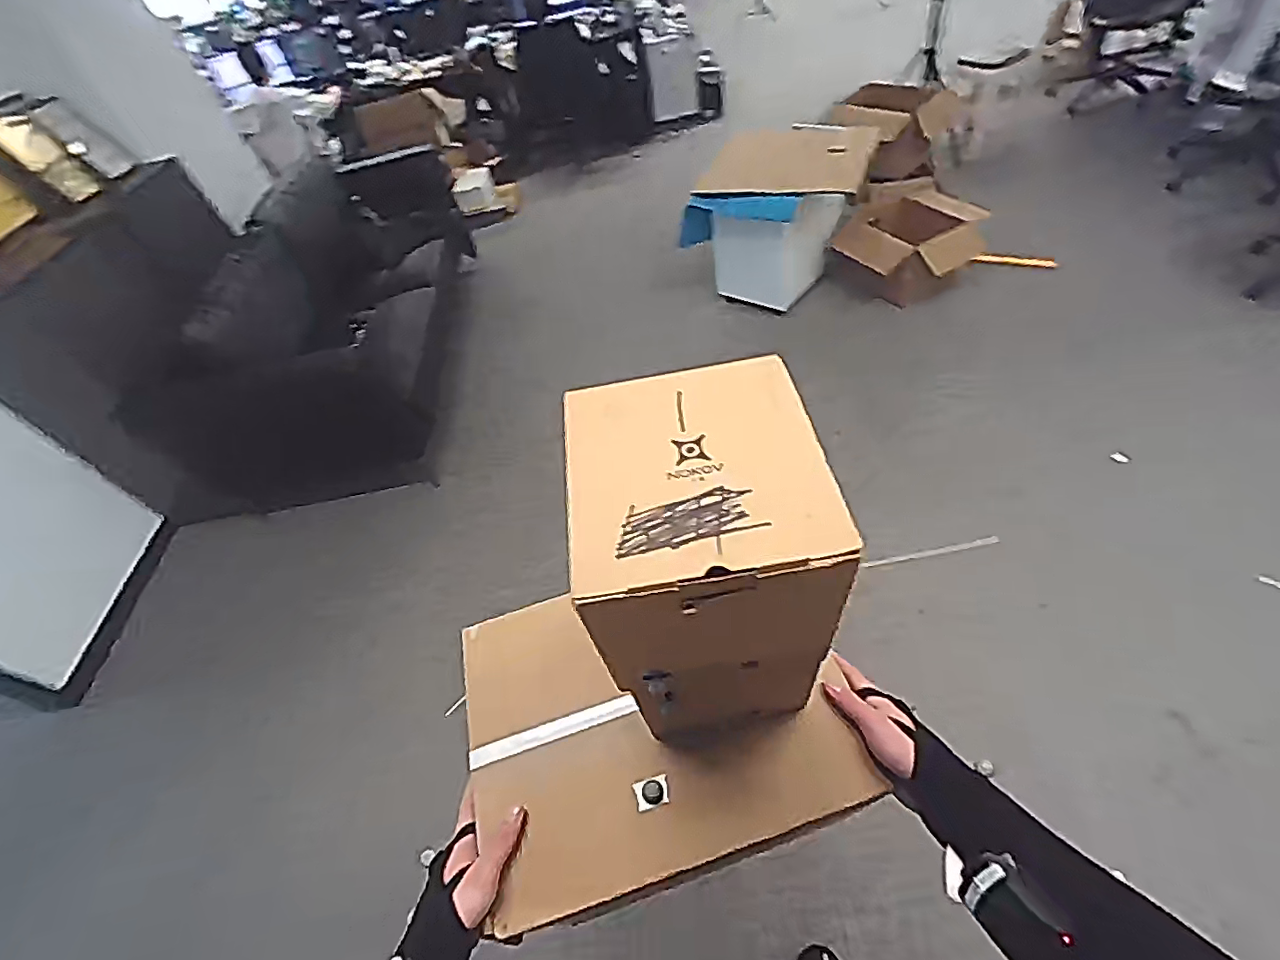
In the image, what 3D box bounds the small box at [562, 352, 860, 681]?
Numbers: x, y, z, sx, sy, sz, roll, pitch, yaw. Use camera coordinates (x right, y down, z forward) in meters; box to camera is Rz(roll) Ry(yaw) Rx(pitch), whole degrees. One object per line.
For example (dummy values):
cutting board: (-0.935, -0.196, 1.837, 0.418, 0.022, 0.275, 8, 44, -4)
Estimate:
small box: (0.043, 0.037, 0.403, 0.168, 0.176, 0.179, -9, 51, 3)
